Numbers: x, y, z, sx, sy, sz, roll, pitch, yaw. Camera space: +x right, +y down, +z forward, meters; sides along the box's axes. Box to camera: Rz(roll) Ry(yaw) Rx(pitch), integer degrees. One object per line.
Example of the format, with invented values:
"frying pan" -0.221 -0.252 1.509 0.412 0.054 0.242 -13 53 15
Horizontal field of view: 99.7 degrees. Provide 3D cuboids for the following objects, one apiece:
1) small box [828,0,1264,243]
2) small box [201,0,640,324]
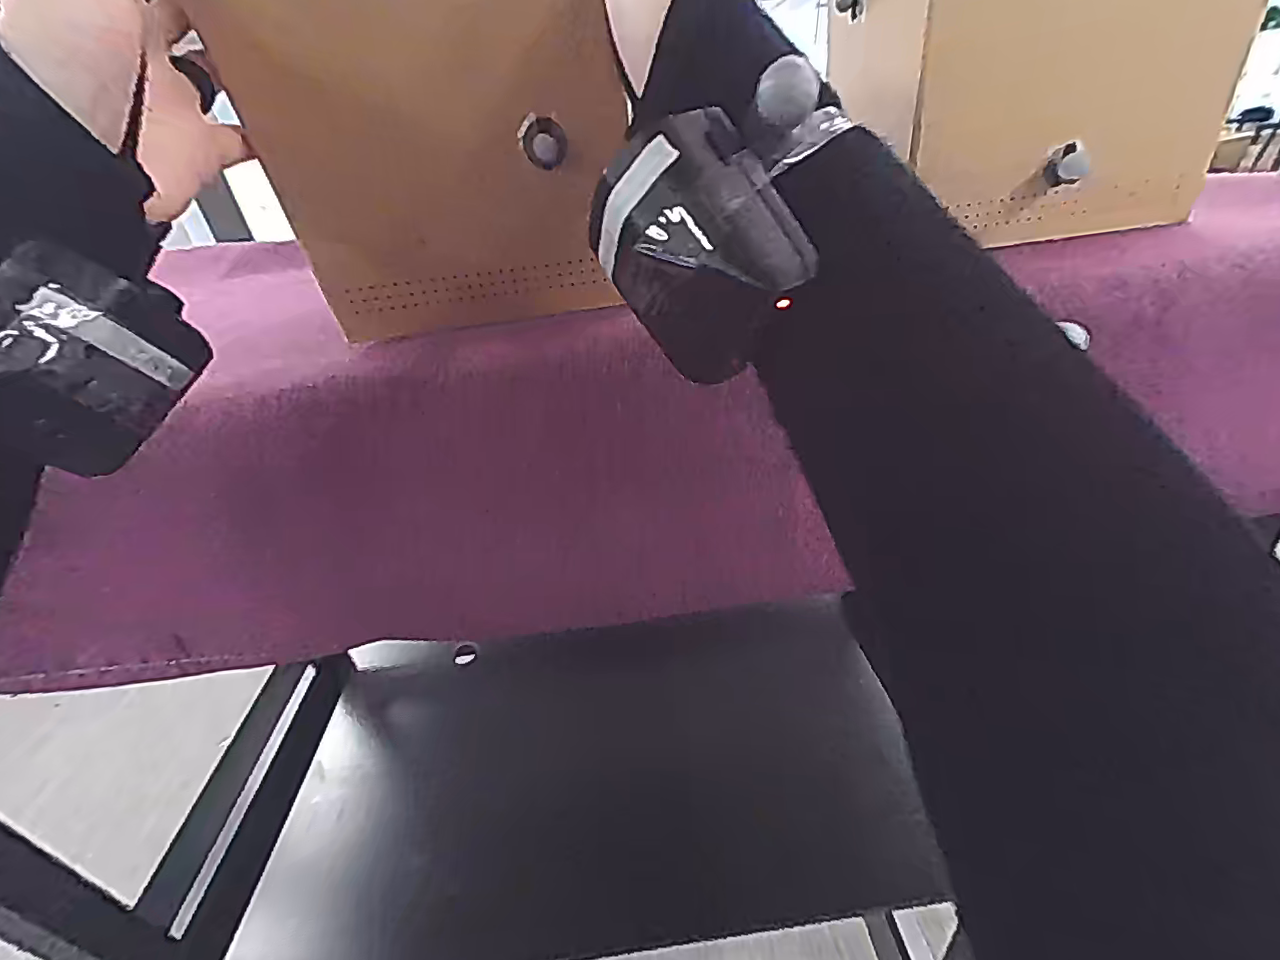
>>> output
"small box" 0.236 -0.264 0.352 0.179 0.176 0.168 -6 30 3
"small box" -0.097 -0.211 0.316 0.179 0.176 0.168 -10 43 -5
